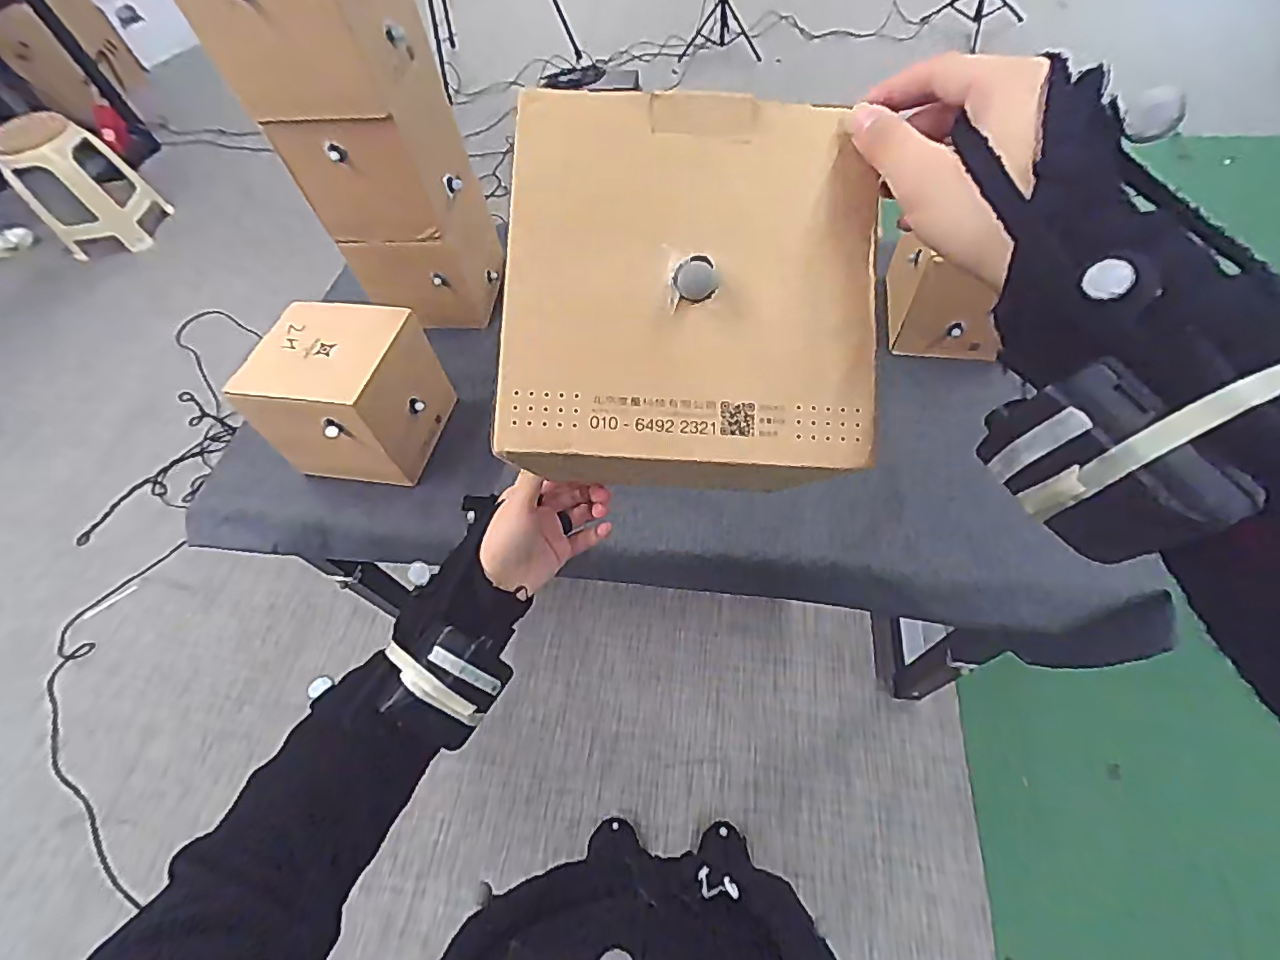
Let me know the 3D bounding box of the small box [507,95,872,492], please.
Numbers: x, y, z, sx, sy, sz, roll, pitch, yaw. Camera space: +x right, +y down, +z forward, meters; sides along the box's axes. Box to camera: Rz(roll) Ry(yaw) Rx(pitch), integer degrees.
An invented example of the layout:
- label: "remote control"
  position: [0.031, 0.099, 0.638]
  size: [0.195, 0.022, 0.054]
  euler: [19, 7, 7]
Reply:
- label: "small box"
  position: [0.021, -0.080, 0.320]
  size: [0.168, 0.179, 0.176]
  euler: [3, 86, -1]

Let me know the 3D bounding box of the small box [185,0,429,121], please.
- label: "small box"
  position: [-0.366, -0.522, 0.592]
  size: [0.179, 0.176, 0.168]
  euler: [3, 61, 6]

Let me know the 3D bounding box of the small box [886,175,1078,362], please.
- label: "small box"
  position: [0.451, -0.290, 0.749]
  size: [0.168, 0.176, 0.179]
  euler: [6, 61, 10]

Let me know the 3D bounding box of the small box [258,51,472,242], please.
- label: "small box"
  position: [-0.355, -0.447, 0.738]
  size: [0.179, 0.176, 0.168]
  euler: [2, 61, 5]

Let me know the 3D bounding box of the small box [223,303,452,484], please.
- label: "small box"
  position: [-0.379, -0.110, 0.720]
  size: [0.179, 0.176, 0.168]
  euler: [6, 56, 9]
